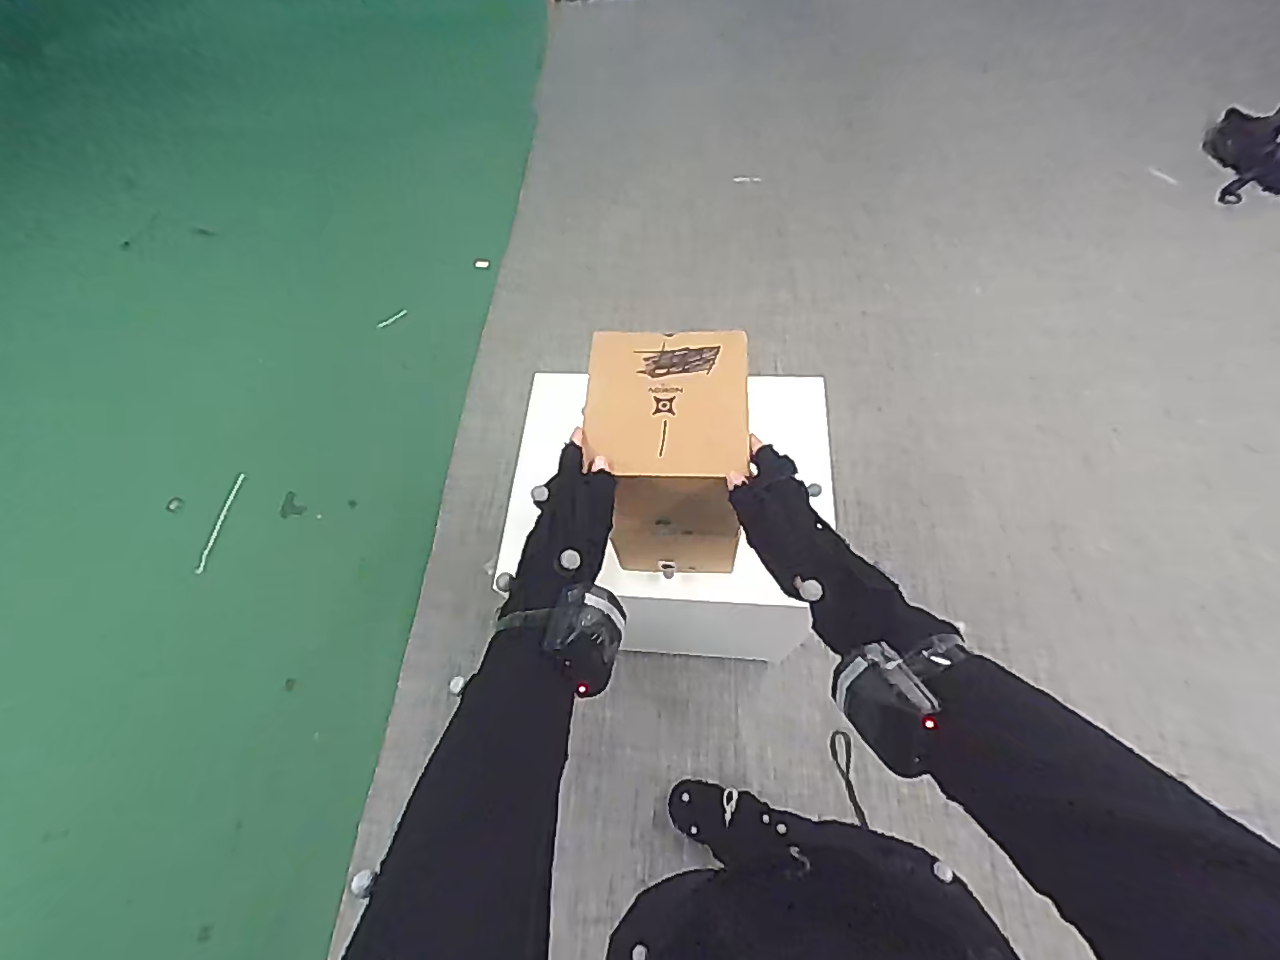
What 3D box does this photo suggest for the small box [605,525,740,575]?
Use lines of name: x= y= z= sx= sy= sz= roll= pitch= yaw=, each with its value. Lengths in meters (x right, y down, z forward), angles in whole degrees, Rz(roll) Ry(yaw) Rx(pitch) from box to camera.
small box: x=0.050 y=0.025 z=0.758 sx=0.168 sy=0.176 sz=0.179 roll=-1 pitch=65 yaw=7

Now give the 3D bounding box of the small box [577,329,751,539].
small box: x=0.030 y=-0.045 z=0.611 sx=0.168 sy=0.176 sz=0.179 roll=-2 pitch=62 yaw=6
